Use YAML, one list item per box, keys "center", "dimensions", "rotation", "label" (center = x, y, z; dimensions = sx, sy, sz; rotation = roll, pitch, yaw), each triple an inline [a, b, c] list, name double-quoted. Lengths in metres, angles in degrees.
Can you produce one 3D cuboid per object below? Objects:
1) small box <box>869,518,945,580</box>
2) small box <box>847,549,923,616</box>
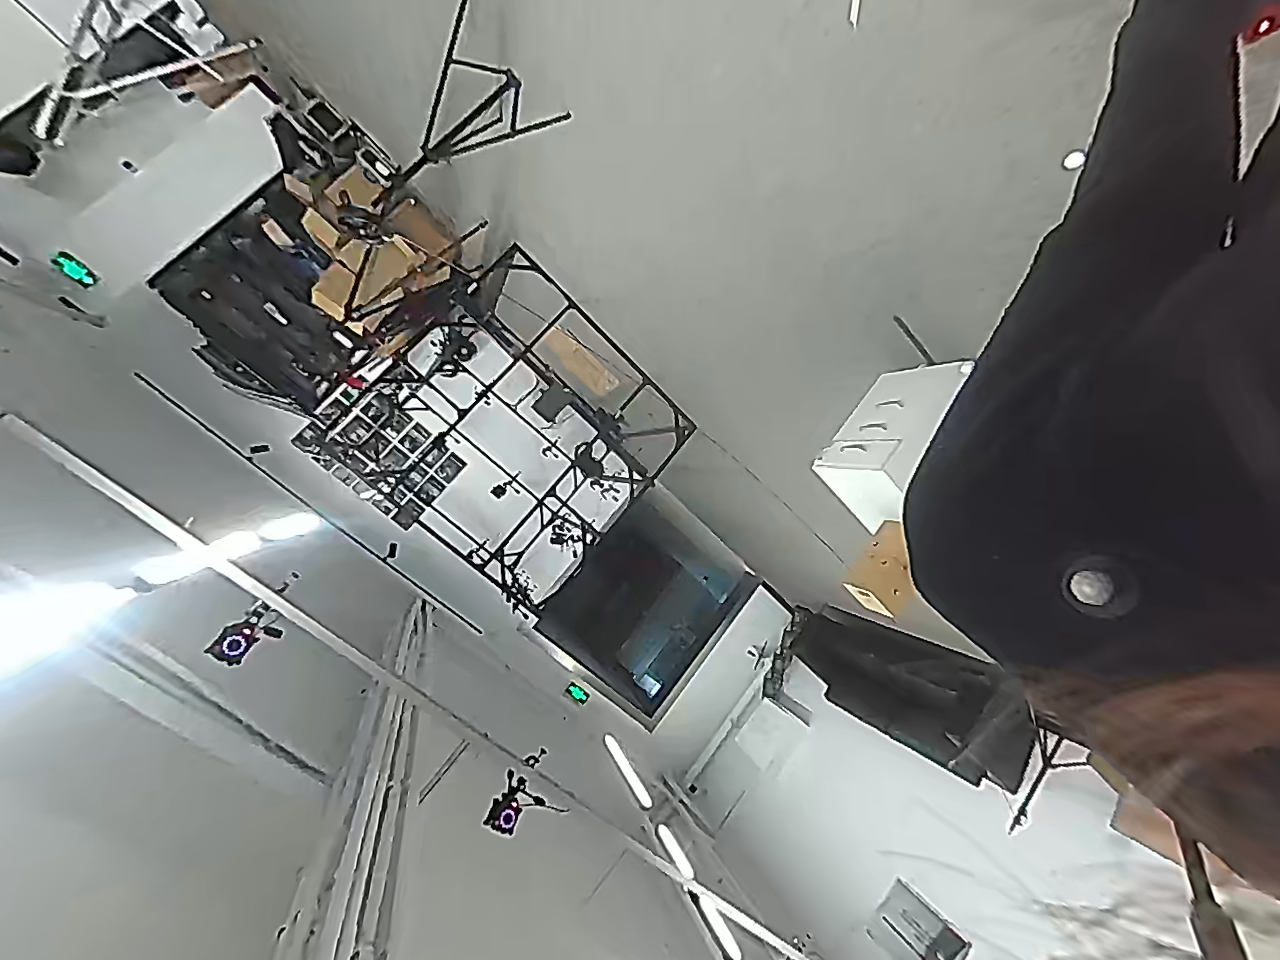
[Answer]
- center: [1.066, 0.271, 2.158]
  dimensions: [0.168, 0.176, 0.179]
  rotation: [43, 170, -16]
  label: "small box"
- center: [0.965, 0.396, 2.124]
  dimensions: [0.179, 0.176, 0.168]
  rotation: [43, 170, -17]
  label: "small box"
